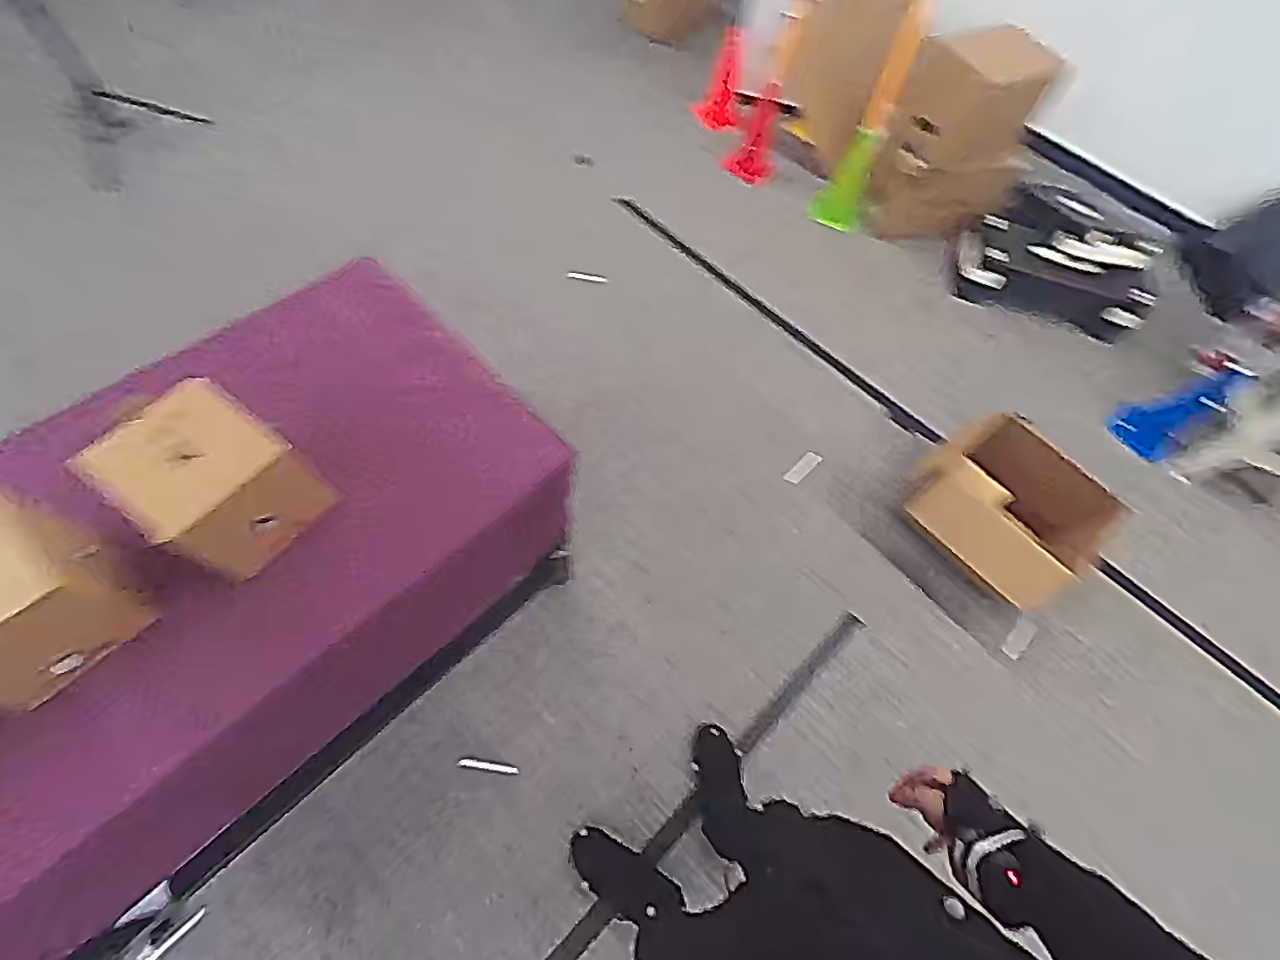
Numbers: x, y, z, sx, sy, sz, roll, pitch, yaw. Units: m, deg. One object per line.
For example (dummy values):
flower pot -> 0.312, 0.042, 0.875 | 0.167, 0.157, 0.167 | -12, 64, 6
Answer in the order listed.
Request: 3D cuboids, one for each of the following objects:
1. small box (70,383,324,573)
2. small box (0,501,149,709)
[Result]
small box -> -0.583, 0.008, 0.743 | 0.179, 0.176, 0.168 | 34, 65, 11
small box -> -0.769, 0.155, 0.651 | 0.179, 0.176, 0.168 | 40, 67, 12
